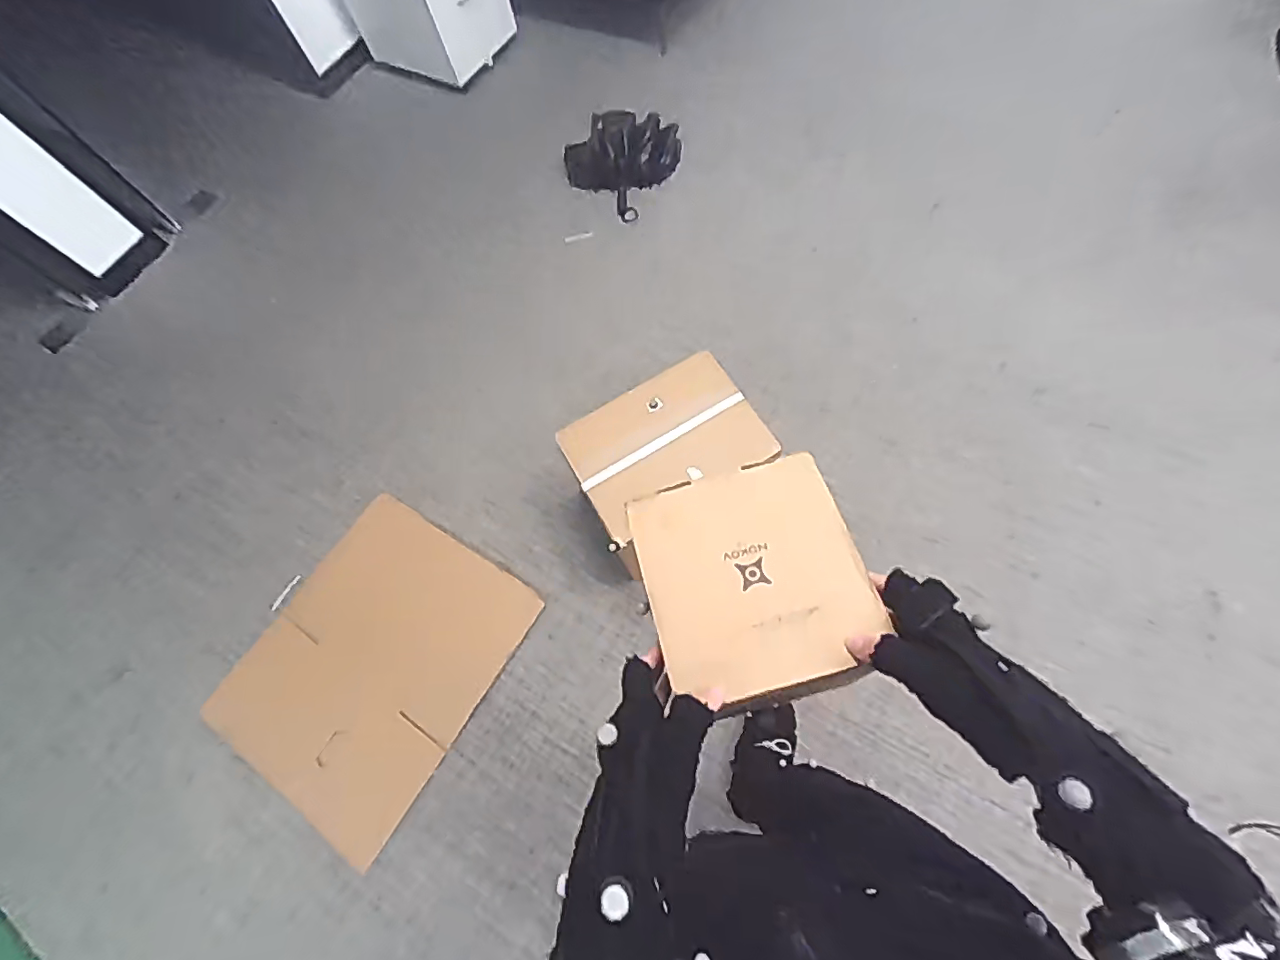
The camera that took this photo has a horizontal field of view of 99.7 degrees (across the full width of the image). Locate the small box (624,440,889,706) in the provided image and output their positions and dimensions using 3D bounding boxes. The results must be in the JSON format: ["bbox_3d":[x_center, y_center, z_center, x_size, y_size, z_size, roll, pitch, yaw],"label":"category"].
[{"bbox_3d":[0.092,0.094,0.501,0.168,0.176,0.179,-17,63,0],"label":"small box"}]
